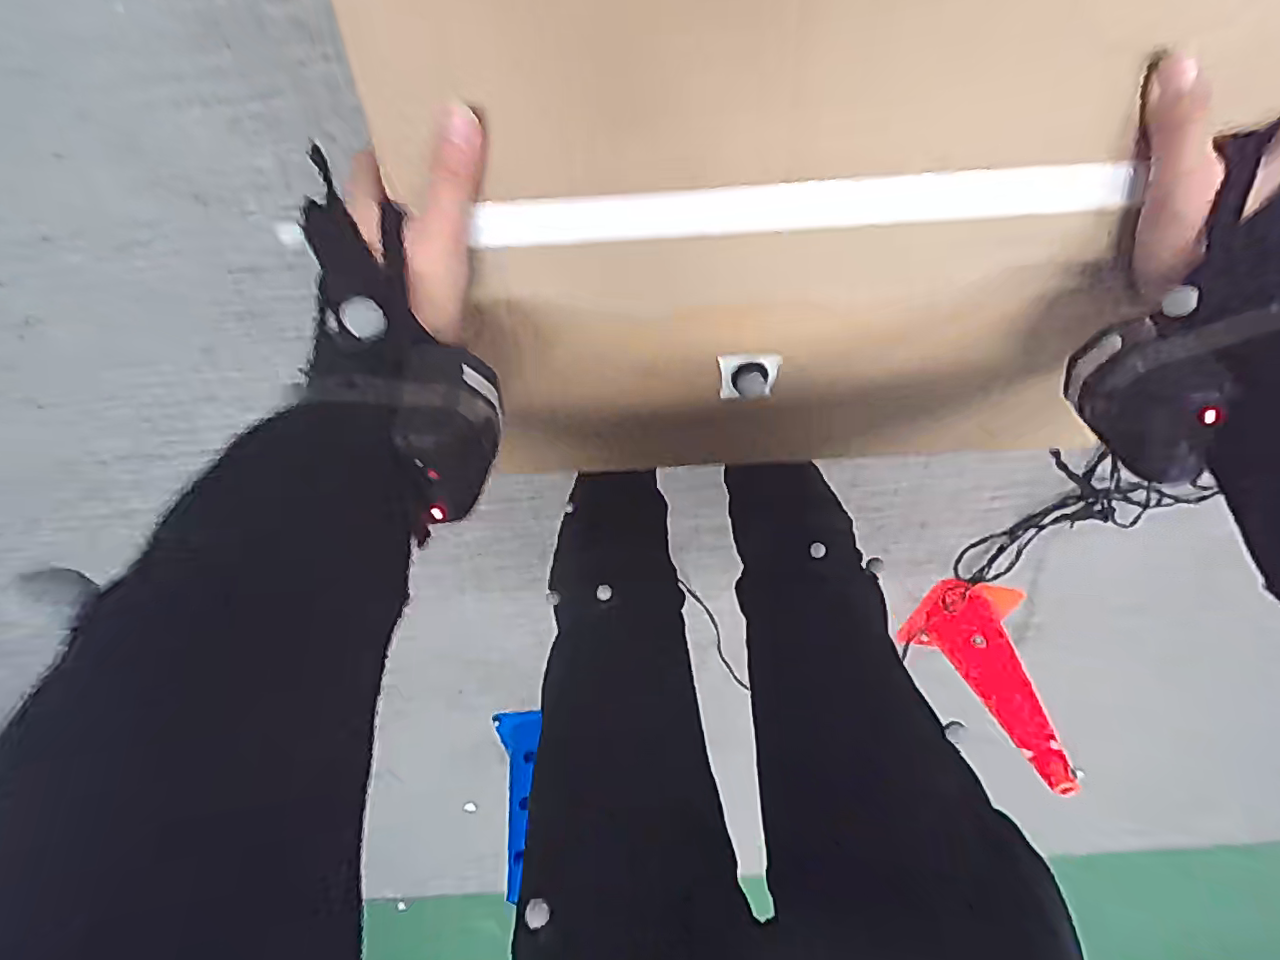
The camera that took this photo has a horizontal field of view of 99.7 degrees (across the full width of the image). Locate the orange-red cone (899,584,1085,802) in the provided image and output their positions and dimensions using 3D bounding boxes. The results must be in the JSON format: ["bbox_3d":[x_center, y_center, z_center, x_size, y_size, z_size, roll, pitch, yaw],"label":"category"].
[{"bbox_3d":[0.674,0.392,0.987,0.199,0.360,0.198,11,125,-10],"label":"orange-red cone"}]

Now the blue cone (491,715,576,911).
[{"bbox_3d":[-0.262,0.745,1.228,0.192,0.380,0.193,-5,124,2],"label":"blue cone"}]
